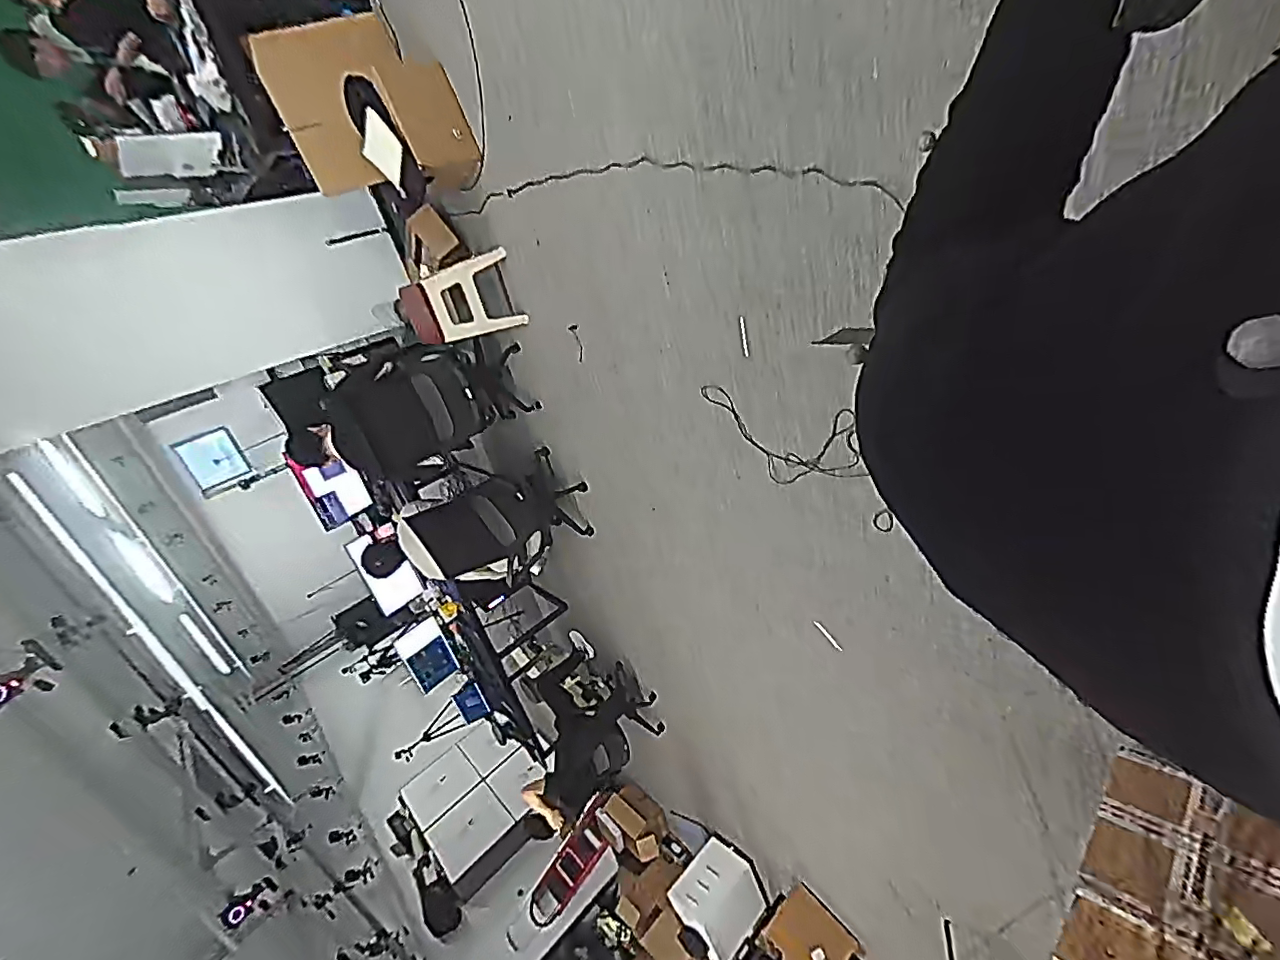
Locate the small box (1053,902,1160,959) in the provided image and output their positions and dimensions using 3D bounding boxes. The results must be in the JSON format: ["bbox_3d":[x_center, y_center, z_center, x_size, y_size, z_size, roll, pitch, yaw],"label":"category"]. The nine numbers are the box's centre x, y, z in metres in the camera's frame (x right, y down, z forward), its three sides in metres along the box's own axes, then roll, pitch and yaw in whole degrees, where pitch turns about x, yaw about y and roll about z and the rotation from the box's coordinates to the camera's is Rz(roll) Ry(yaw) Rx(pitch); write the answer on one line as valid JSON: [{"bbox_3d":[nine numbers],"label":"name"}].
[{"bbox_3d":[1.109,1.176,1.291,0.168,0.176,0.179,14,126,50],"label":"small box"}]
